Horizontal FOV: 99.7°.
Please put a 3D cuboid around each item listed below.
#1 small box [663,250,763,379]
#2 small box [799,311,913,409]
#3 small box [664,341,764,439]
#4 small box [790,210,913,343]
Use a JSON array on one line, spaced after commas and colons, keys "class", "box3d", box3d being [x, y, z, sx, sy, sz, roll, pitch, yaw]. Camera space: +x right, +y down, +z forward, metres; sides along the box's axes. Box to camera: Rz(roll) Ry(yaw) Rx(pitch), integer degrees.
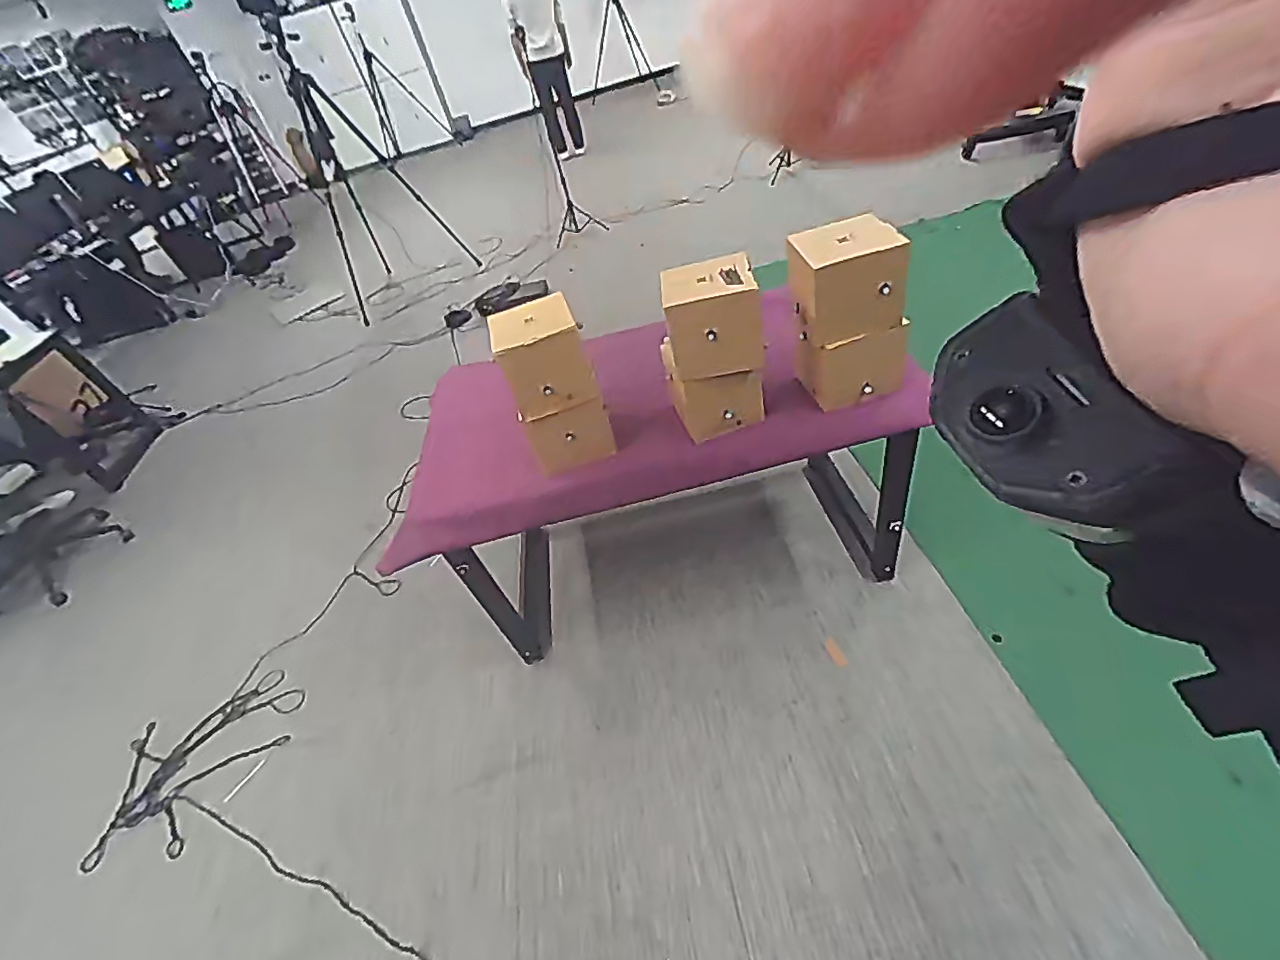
[{"class": "small box", "box3d": [0.146, -0.325, 1.074, 0.179, 0.176, 0.168, -10, 43, 10]}, {"class": "small box", "box3d": [0.454, -0.281, 1.169, 0.179, 0.176, 0.168, -17, 43, 1]}, {"class": "small box", "box3d": [0.164, -0.221, 1.203, 0.168, 0.176, 0.179, -19, 42, -1]}, {"class": "small box", "box3d": [0.405, -0.396, 1.063, 0.179, 0.176, 0.168, -14, 44, 5]}]
